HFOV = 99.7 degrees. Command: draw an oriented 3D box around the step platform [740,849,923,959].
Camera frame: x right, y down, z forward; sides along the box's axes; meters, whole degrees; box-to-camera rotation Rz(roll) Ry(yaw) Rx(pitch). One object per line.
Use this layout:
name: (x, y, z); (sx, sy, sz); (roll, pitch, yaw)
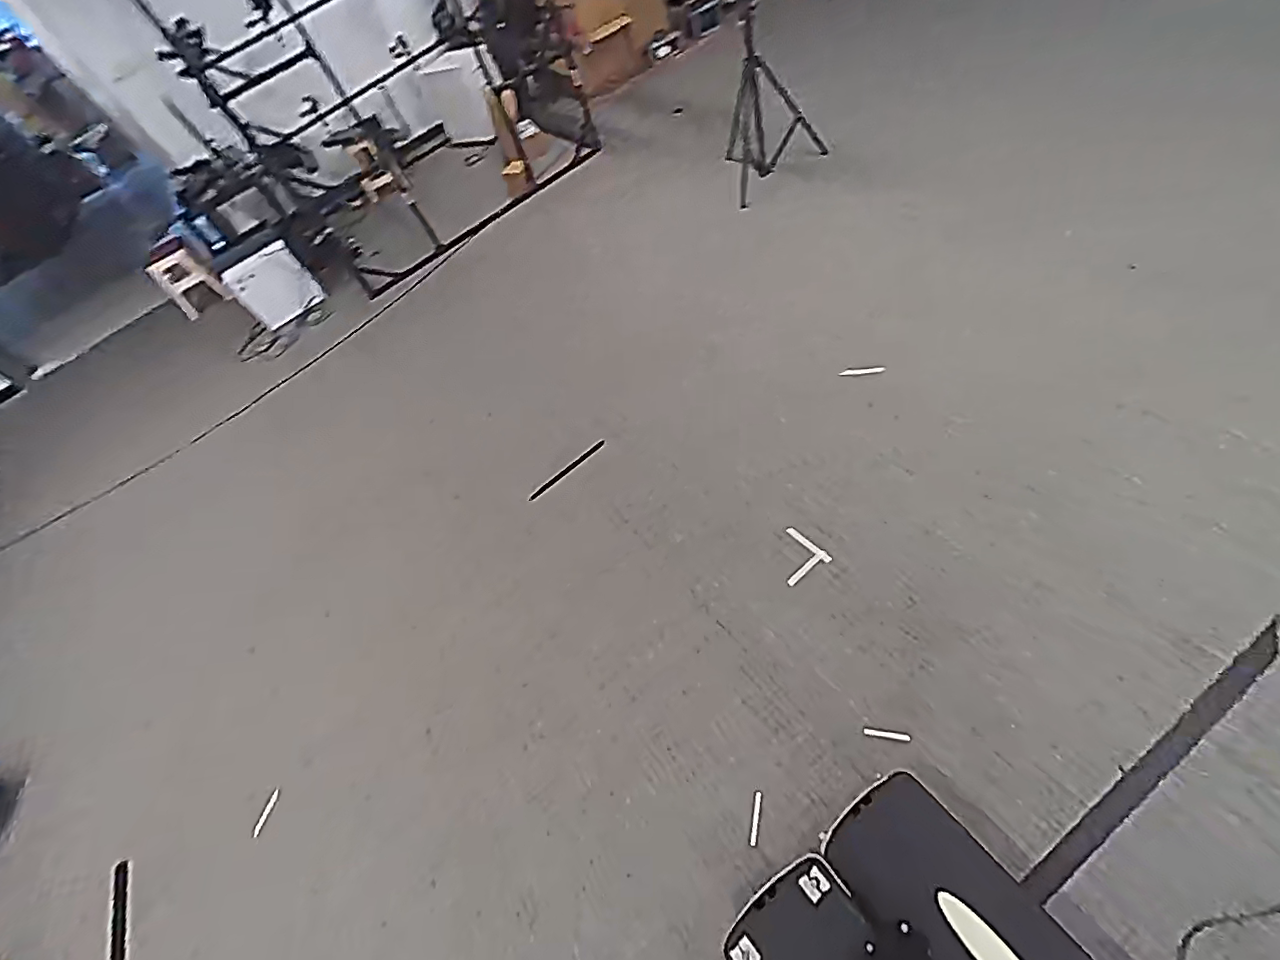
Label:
step platform: (0.503, 1.087, 1.001); (0.286, 0.204, 0.684); (-39, 50, -10)
